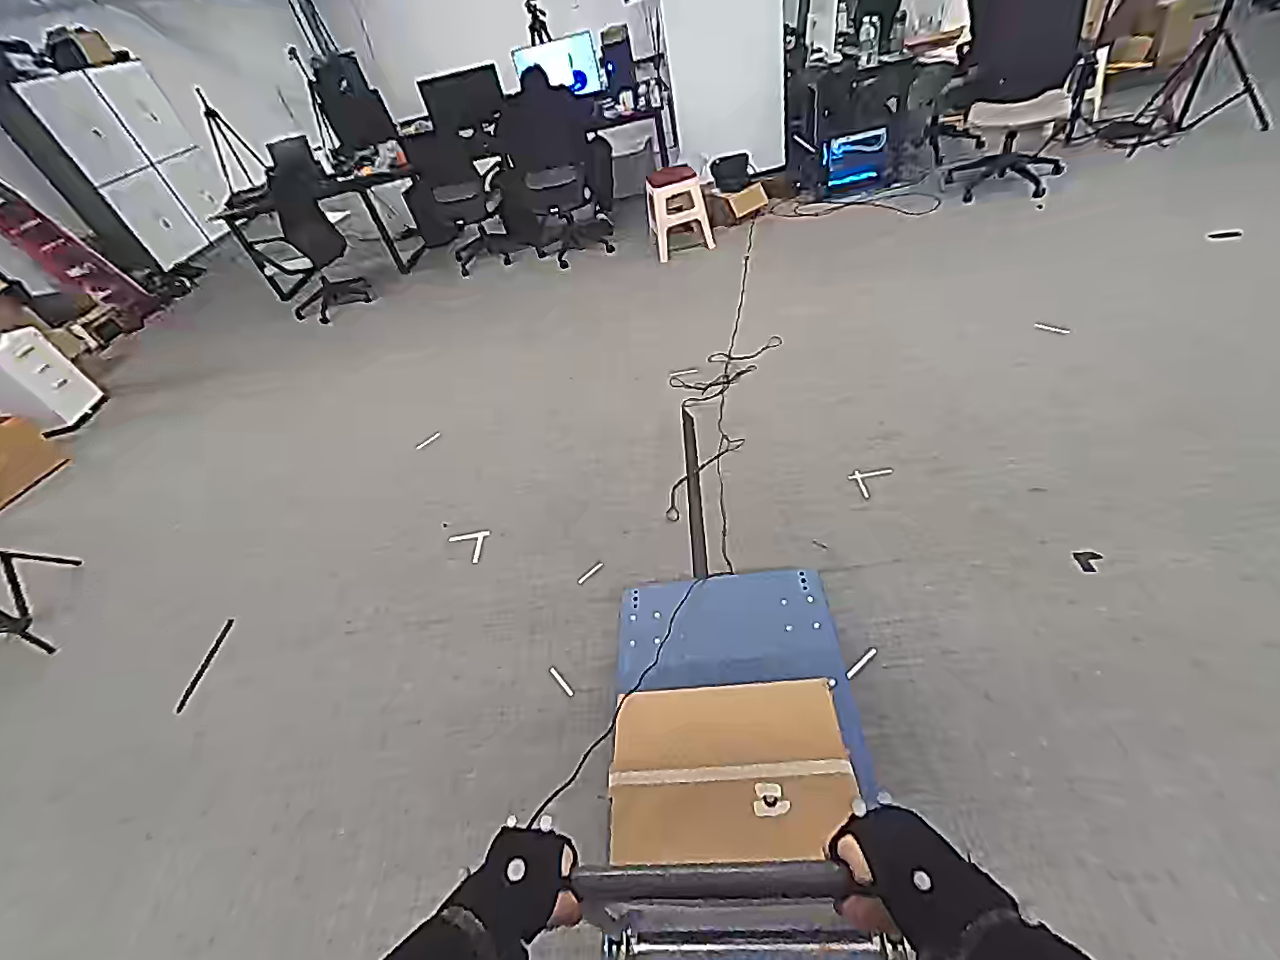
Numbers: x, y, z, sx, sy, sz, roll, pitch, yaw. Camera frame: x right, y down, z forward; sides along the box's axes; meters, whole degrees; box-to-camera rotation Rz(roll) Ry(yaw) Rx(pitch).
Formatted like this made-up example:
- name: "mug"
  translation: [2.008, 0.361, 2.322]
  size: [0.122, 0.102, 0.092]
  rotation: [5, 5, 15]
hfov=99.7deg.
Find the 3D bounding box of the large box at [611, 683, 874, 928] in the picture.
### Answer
- name: "large box"
  translation: [0.176, 0.615, 1.015]
  size: [0.408, 0.320, 0.320]
  rotation: [-8, 43, 8]
